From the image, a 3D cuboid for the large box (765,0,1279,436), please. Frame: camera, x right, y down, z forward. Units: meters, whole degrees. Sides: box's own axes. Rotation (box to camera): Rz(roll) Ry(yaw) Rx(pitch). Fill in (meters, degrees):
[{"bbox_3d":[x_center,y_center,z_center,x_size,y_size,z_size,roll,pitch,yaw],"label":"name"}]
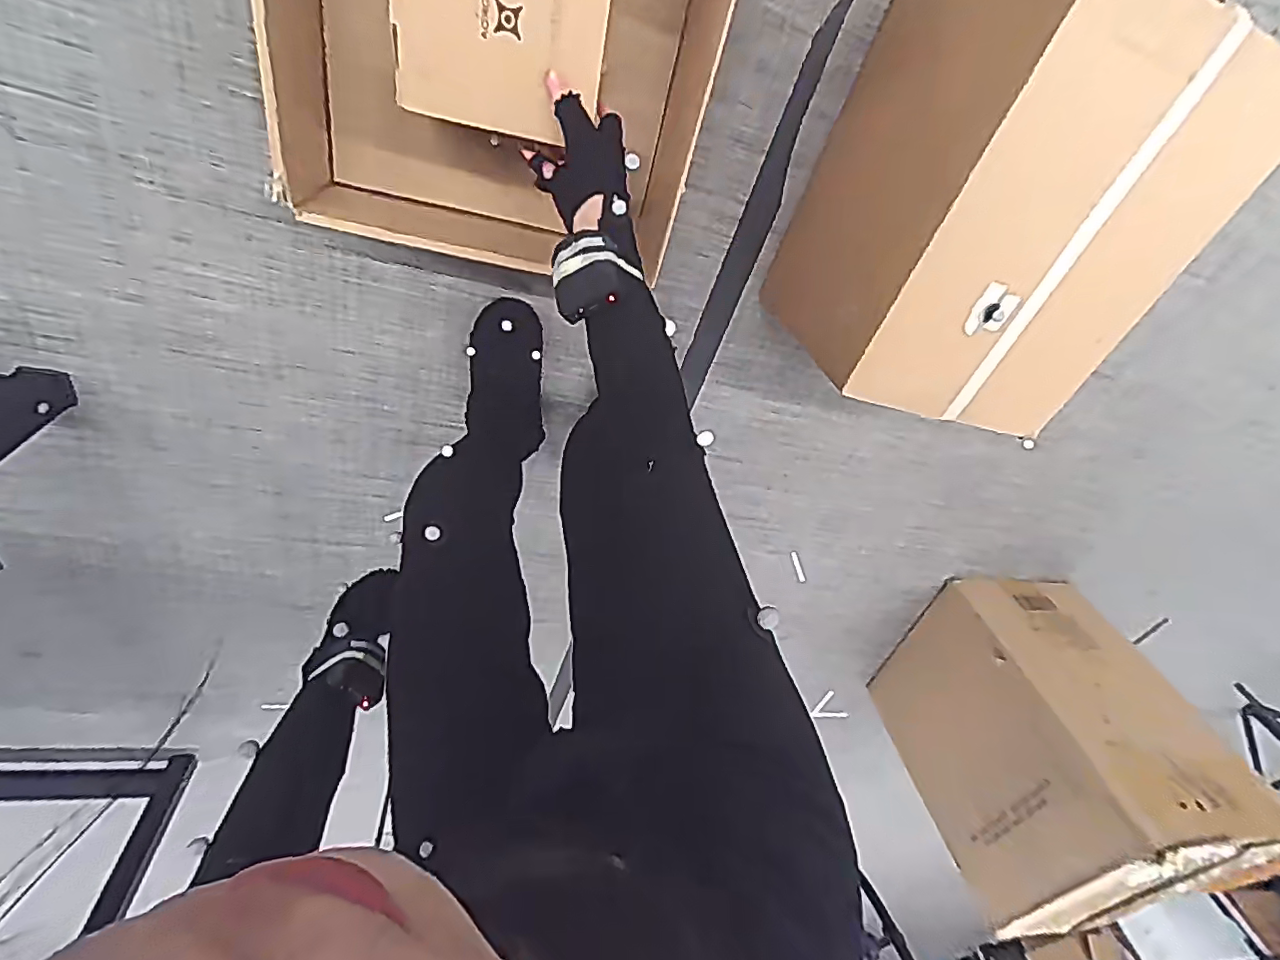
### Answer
[{"bbox_3d":[0.414,-0.324,0.675,0.320,0.320,0.408,9,127,-17],"label":"large box"}]
